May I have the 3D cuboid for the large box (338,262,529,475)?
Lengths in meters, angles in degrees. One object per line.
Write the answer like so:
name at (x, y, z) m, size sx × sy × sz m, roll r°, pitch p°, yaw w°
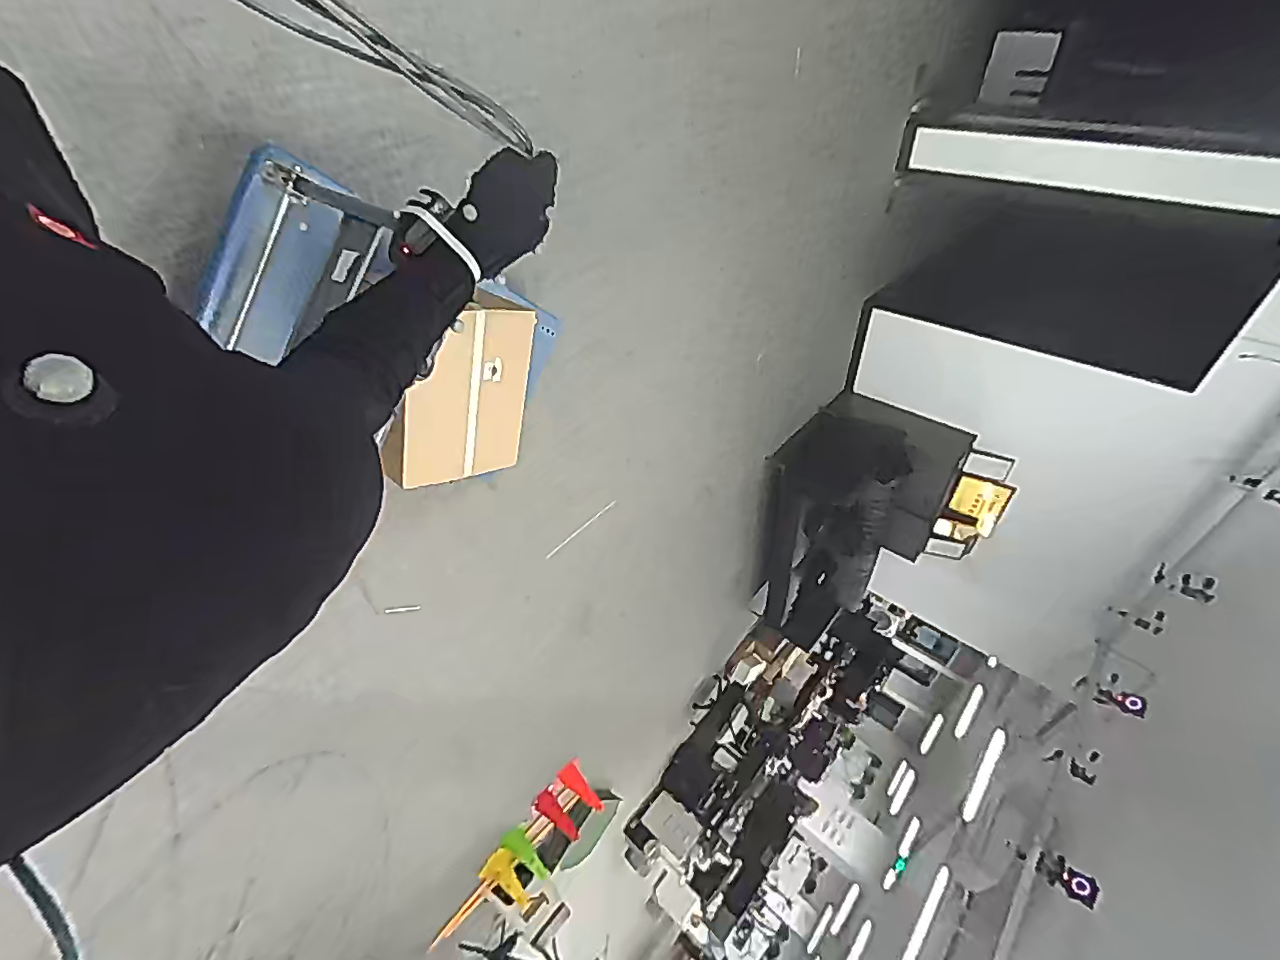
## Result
large box at (-0.503, -0.275, 1.308) m, size 0.320 × 0.320 × 0.408 m, roll -17°, pitch 129°, yaw -48°
